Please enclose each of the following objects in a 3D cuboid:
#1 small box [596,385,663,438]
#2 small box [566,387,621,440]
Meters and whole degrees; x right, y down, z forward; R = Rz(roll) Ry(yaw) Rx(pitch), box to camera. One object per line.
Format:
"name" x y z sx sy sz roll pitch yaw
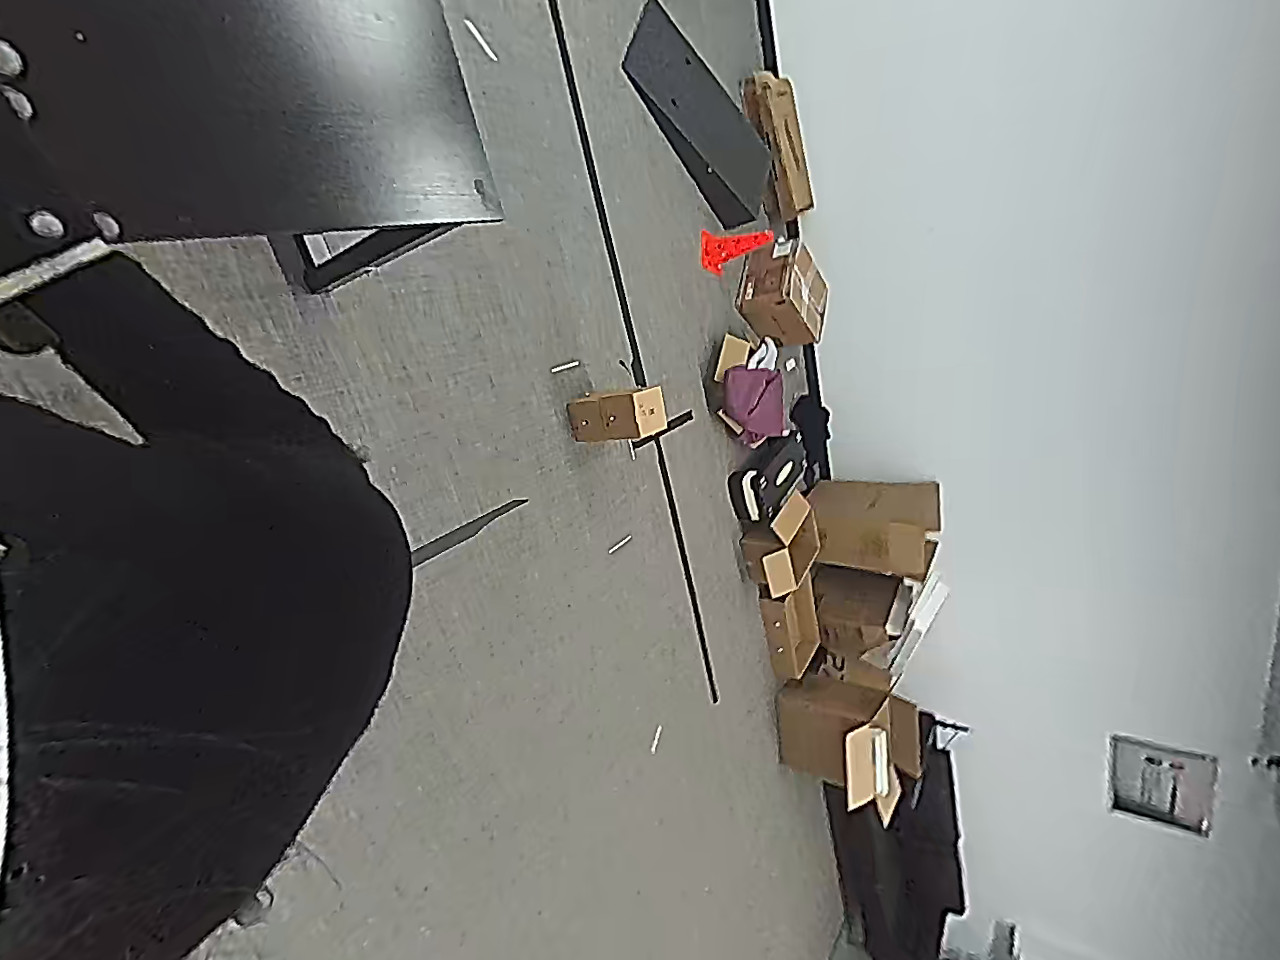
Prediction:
"small box" -0.040 -0.258 2.041 0.179 0.176 0.168 -27 111 -48
"small box" -0.171 -0.261 2.141 0.179 0.176 0.168 -34 116 -45
